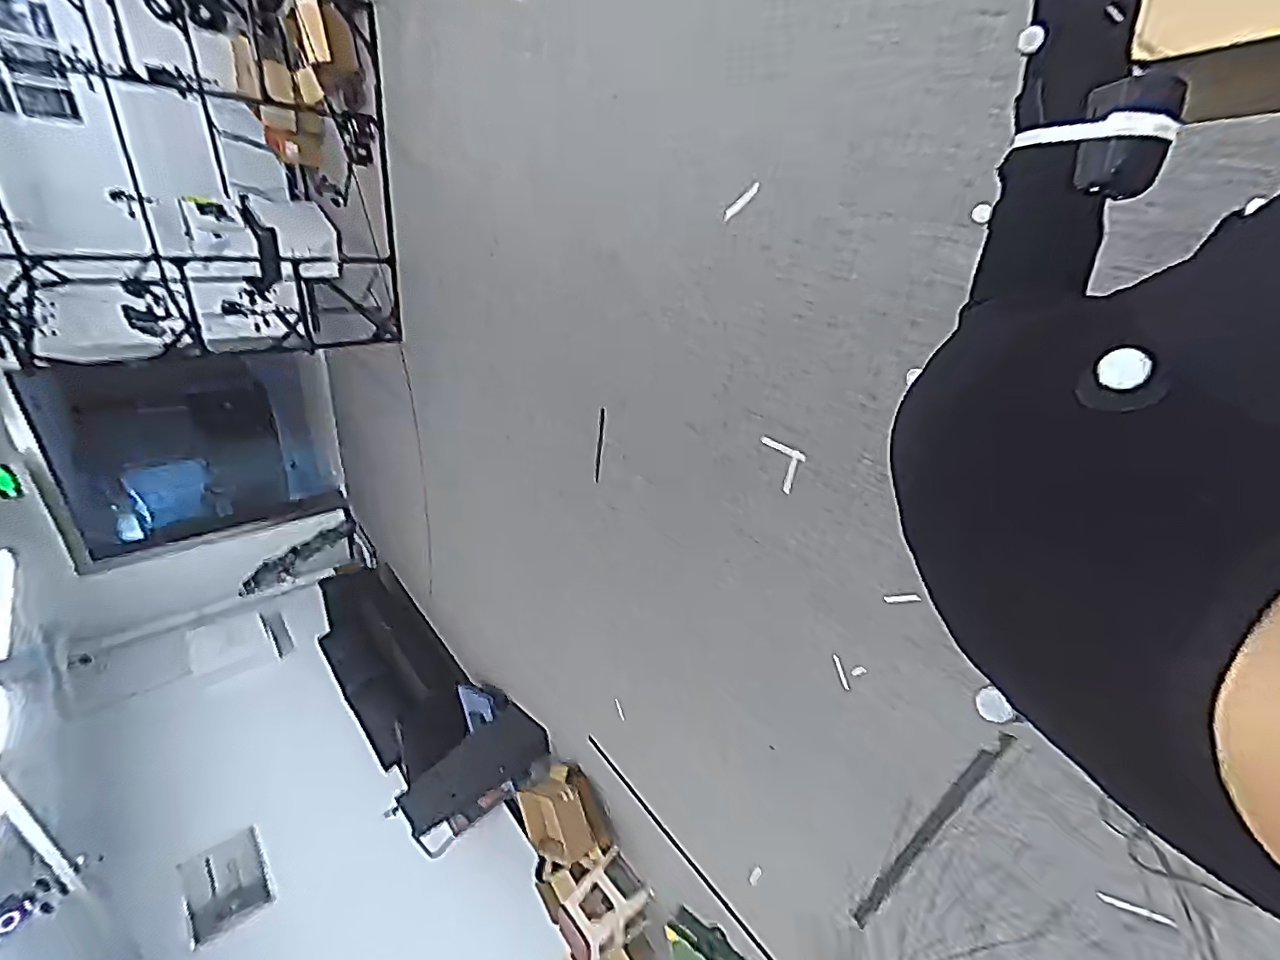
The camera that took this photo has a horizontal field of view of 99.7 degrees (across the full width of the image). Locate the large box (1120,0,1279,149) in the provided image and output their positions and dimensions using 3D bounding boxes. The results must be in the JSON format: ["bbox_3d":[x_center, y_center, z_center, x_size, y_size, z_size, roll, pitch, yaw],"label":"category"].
[{"bbox_3d":[0.558,-0.398,0.275,0.408,0.320,0.320,19,120,42],"label":"large box"}]
